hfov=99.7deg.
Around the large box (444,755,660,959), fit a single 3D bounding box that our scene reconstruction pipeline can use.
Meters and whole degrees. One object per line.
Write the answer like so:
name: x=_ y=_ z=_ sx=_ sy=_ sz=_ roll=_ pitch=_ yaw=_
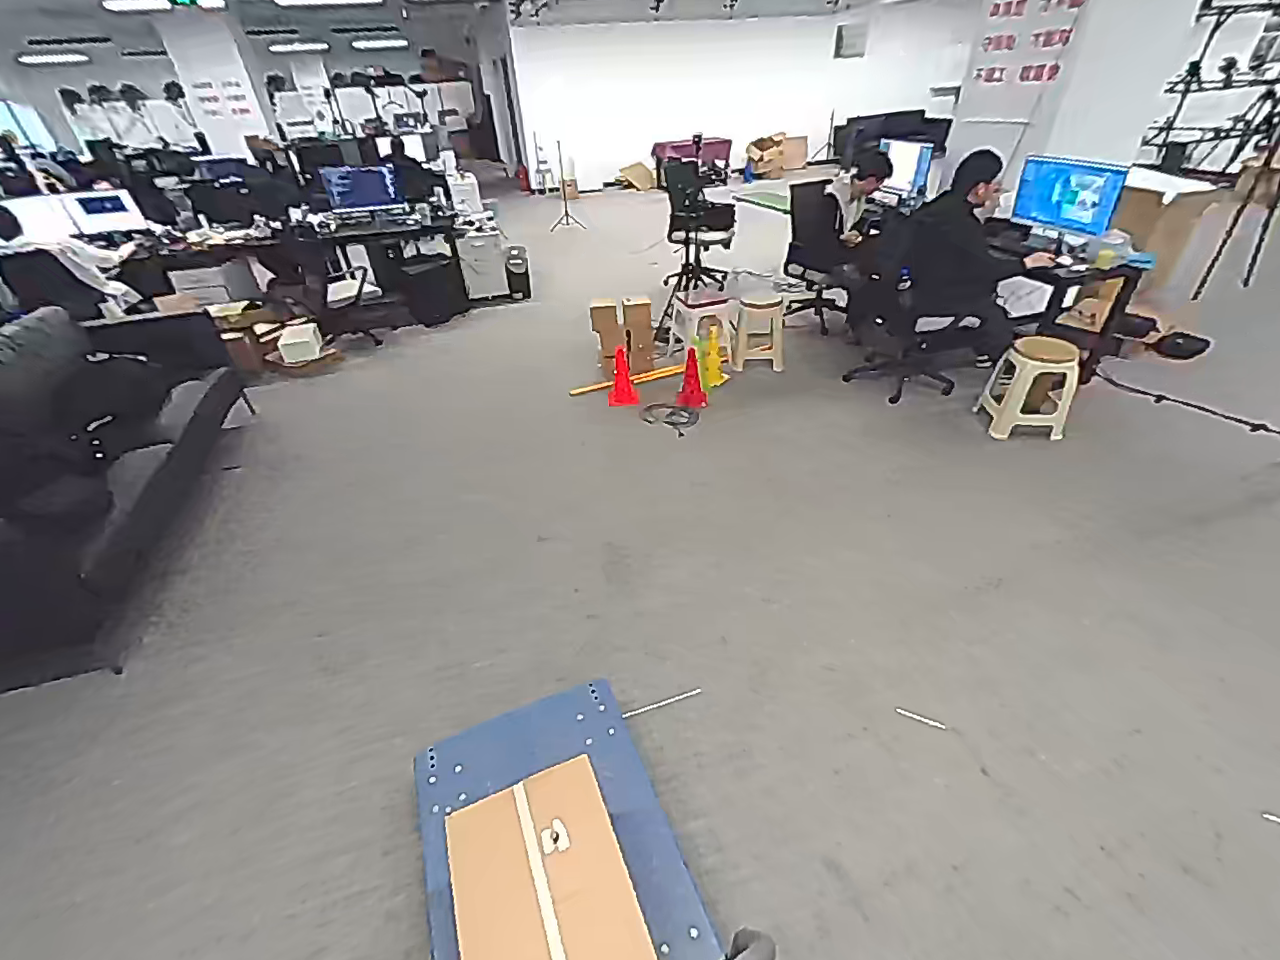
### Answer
large box: x=-0.173 y=0.872 z=1.090 sx=0.320 sy=0.320 sz=0.408 roll=-16 pitch=37 yaw=-17
